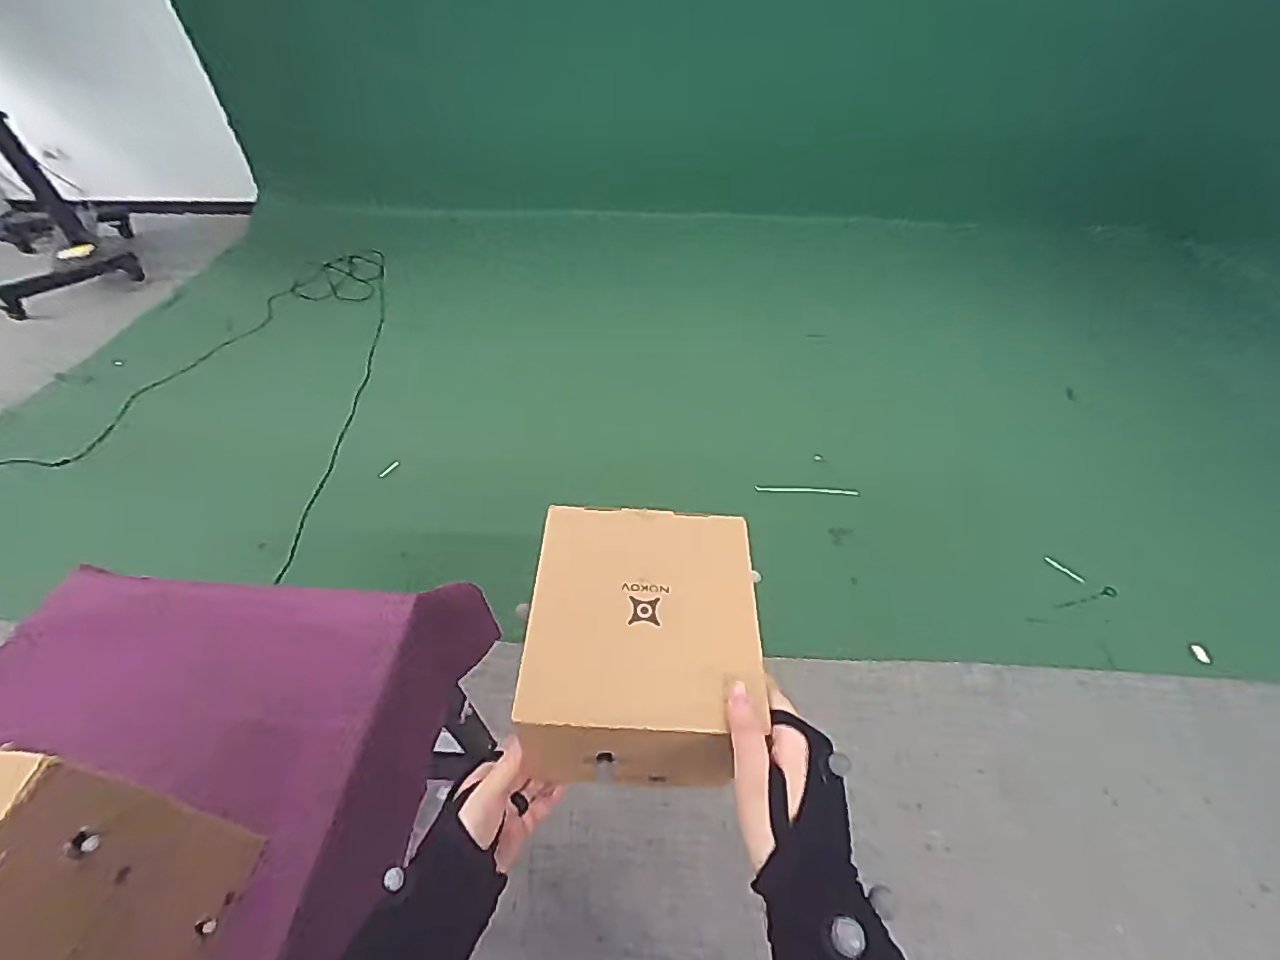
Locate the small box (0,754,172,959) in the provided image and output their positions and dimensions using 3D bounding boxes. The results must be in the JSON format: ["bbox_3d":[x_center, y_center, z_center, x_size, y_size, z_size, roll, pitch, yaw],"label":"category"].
[{"bbox_3d":[-0.541,0.324,0.426,0.179,0.176,0.168,3,47,3],"label":"small box"}]

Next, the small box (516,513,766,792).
[{"bbox_3d":[0.000,0.150,0.459,0.168,0.176,0.179,4,48,-2],"label":"small box"}]
